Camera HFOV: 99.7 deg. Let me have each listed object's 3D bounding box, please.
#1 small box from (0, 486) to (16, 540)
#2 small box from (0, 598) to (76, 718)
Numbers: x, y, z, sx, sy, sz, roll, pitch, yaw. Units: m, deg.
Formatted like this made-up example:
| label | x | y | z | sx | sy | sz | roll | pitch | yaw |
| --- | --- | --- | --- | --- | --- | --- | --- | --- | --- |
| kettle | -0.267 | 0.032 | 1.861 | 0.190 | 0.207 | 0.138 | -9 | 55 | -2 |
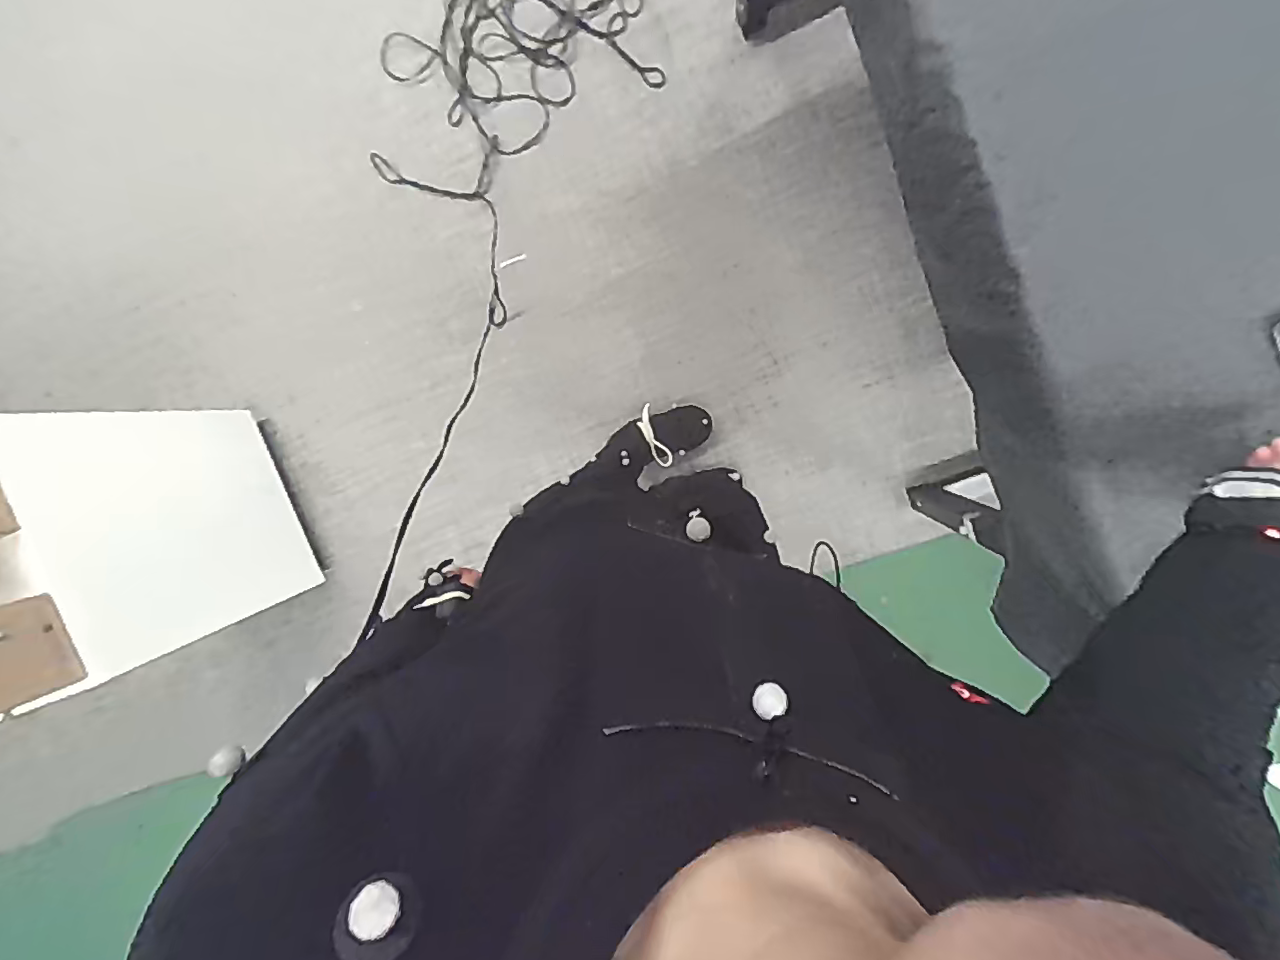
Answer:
| label | x | y | z | sx | sy | sz | roll | pitch | yaw |
| --- | --- | --- | --- | --- | --- | --- | --- | --- | --- |
| small box | -1.168 | 0.049 | 0.847 | 0.179 | 0.176 | 0.168 | -19 | 94 | 11 |
| small box | -1.073 | 0.308 | 0.869 | 0.179 | 0.176 | 0.168 | -19 | 93 | 13 |
